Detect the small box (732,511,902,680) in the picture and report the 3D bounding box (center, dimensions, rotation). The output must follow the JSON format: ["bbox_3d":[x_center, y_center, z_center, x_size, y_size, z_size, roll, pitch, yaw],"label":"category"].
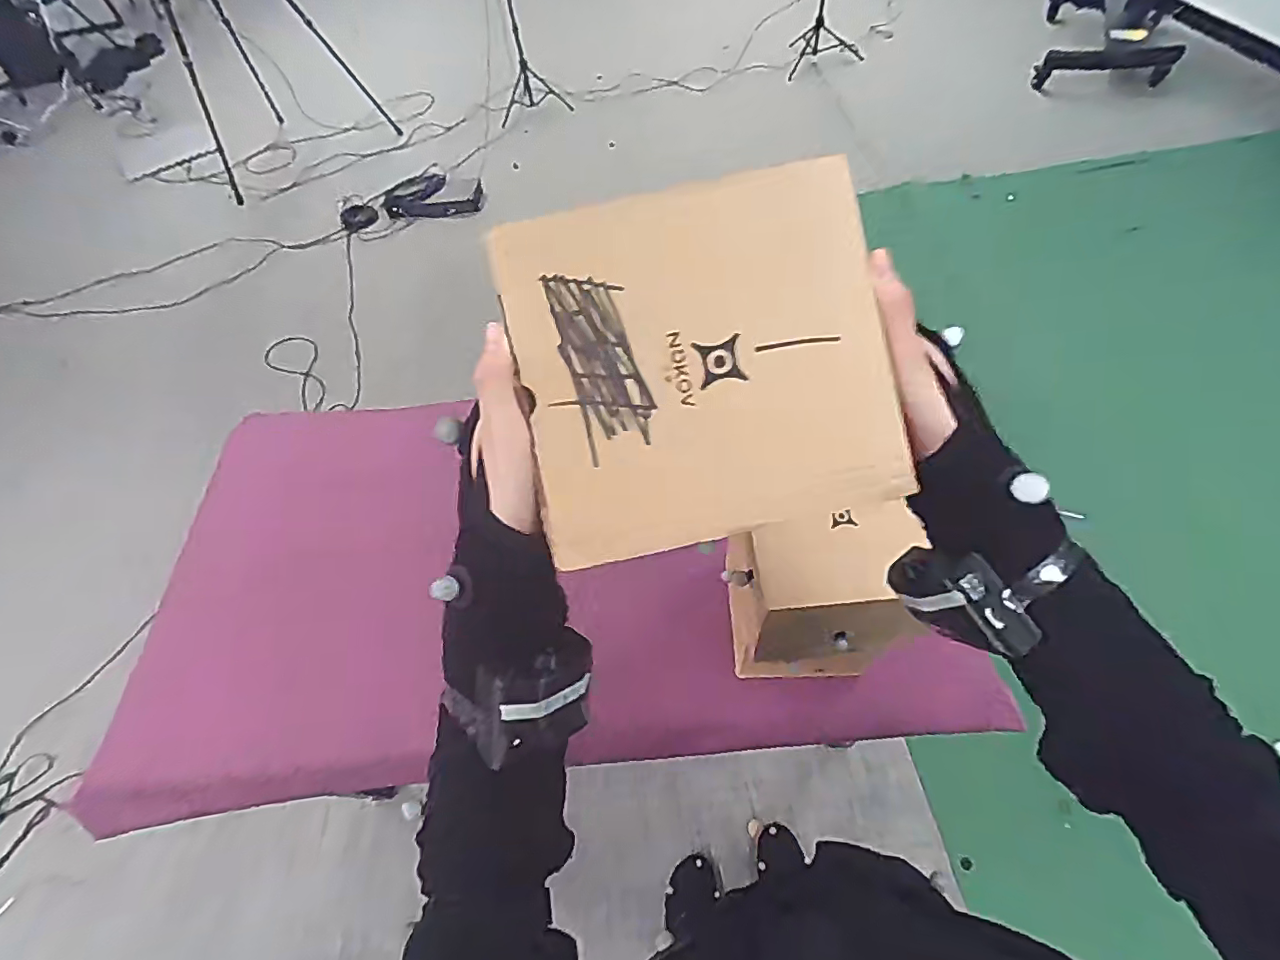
[{"bbox_3d":[0.208,0.150,0.688,0.168,0.176,0.179,-3,56,5],"label":"small box"}]

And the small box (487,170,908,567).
[{"bbox_3d":[0.025,-0.050,0.333,0.179,0.176,0.168,-11,89,-2],"label":"small box"}]
